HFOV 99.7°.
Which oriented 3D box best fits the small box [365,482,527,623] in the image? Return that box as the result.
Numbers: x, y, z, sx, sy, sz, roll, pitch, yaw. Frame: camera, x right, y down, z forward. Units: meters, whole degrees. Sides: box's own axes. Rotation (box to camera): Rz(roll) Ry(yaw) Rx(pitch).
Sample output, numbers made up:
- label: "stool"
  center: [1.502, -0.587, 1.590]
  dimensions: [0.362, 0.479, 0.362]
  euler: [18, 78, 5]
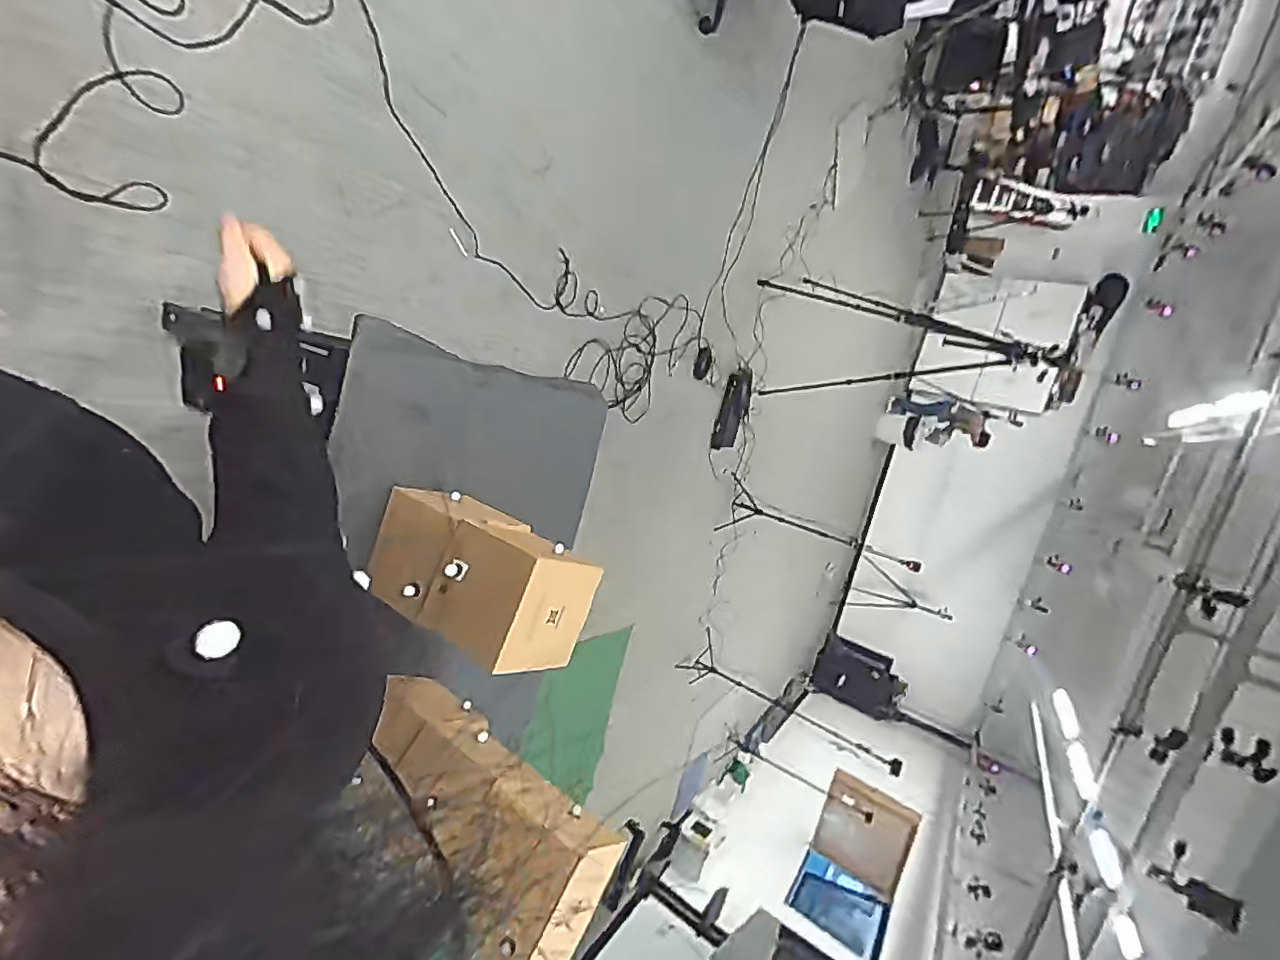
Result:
- label: "small box"
  center: [-0.326, 0.118, 0.904]
  dimensions: [0.168, 0.176, 0.179]
  euler: [16, 94, -60]

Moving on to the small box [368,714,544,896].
- label: "small box"
  center: [-0.293, 0.505, 0.855]
  dimensions: [0.179, 0.176, 0.168]
  euler: [-59, 148, -18]

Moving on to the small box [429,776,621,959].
- label: "small box"
  center: [-0.161, 0.551, 0.773]
  dimensions: [0.179, 0.176, 0.168]
  euler: [-60, 149, -16]

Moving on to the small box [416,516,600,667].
- label: "small box"
  center: [-0.196, 0.164, 0.819]
  dimensions: [0.179, 0.176, 0.168]
  euler: [26, 83, -59]
